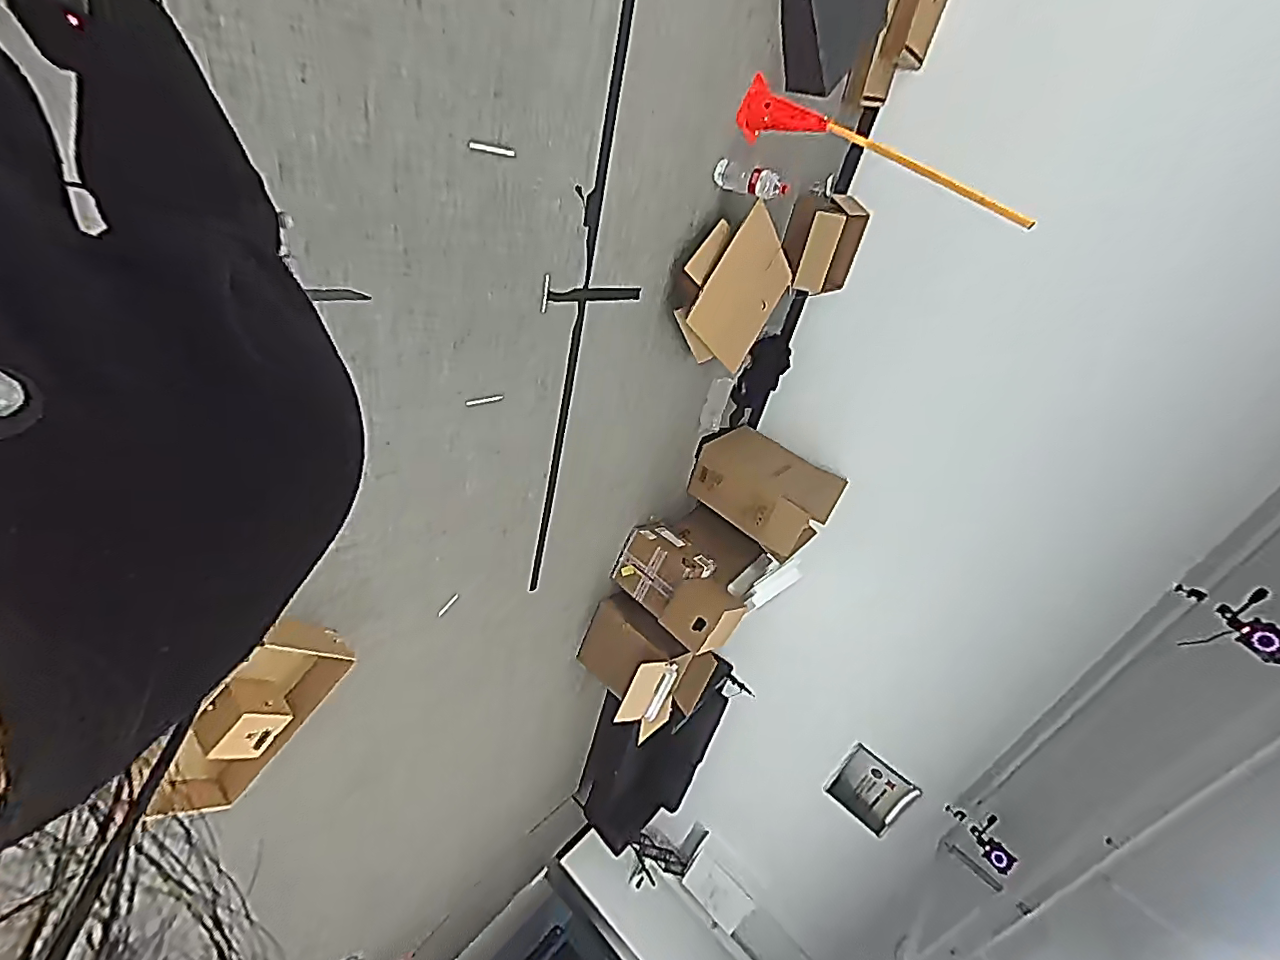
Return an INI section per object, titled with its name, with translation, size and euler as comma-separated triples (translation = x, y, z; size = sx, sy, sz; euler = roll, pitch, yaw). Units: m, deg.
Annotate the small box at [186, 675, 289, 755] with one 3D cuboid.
[small box]
translation = -1.285, 0.747, 1.726
size = 0.168, 0.176, 0.179
euler = -51, 152, -9
